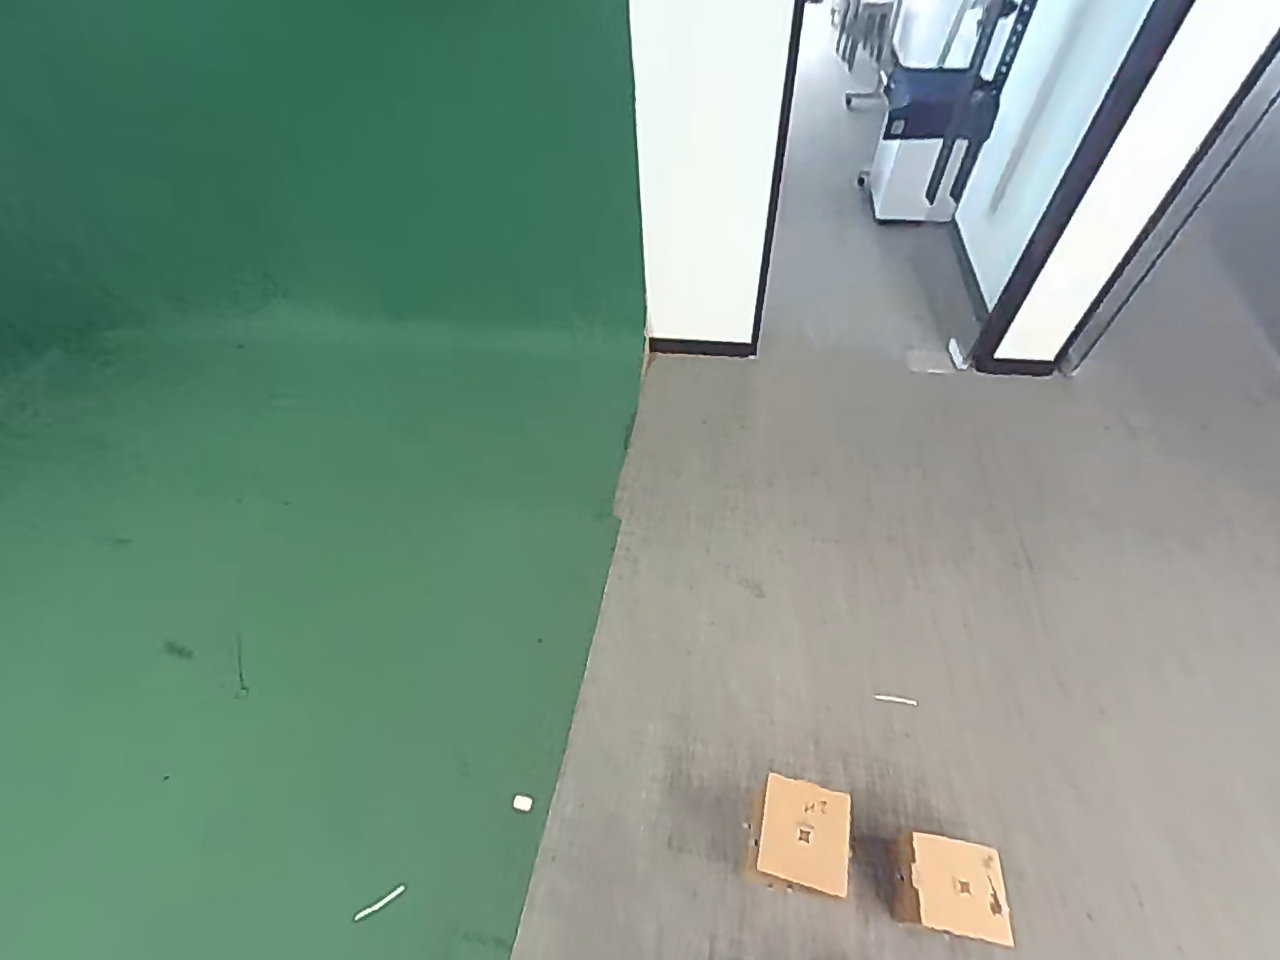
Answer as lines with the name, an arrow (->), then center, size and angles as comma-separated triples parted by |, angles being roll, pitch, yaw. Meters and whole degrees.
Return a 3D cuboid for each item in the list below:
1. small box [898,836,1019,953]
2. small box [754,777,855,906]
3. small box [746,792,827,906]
small box -> 0.672, 0.895, 1.169 | 0.179, 0.176, 0.168 | 6, 52, 11
small box -> 0.332, 0.744, 1.110 | 0.168, 0.176, 0.179 | 11, 52, 13
small box -> 0.339, 0.848, 1.238 | 0.168, 0.176, 0.179 | 9, 51, 12
